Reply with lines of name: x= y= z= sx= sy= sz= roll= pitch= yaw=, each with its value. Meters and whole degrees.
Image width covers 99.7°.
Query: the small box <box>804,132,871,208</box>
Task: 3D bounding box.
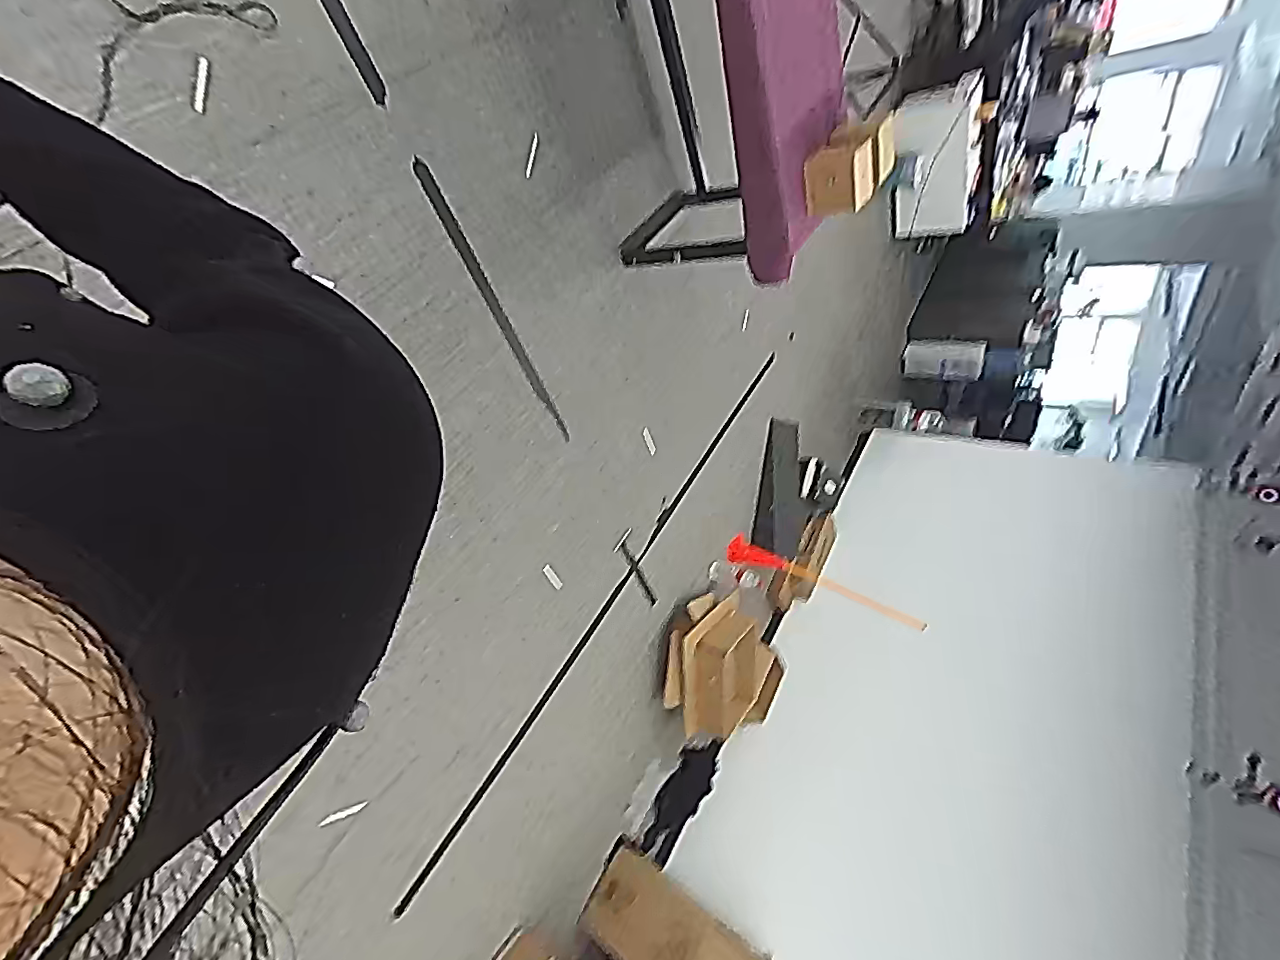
small box: x=0.653 y=-1.025 z=1.799 sx=0.179 sy=0.176 sz=0.168 roll=-50 pitch=135 yaw=-34

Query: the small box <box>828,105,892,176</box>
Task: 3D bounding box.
small box: x=0.774 y=-1.180 z=1.904 sx=0.168 sy=0.176 sz=0.179 roll=-52 pitch=138 yaw=-29
